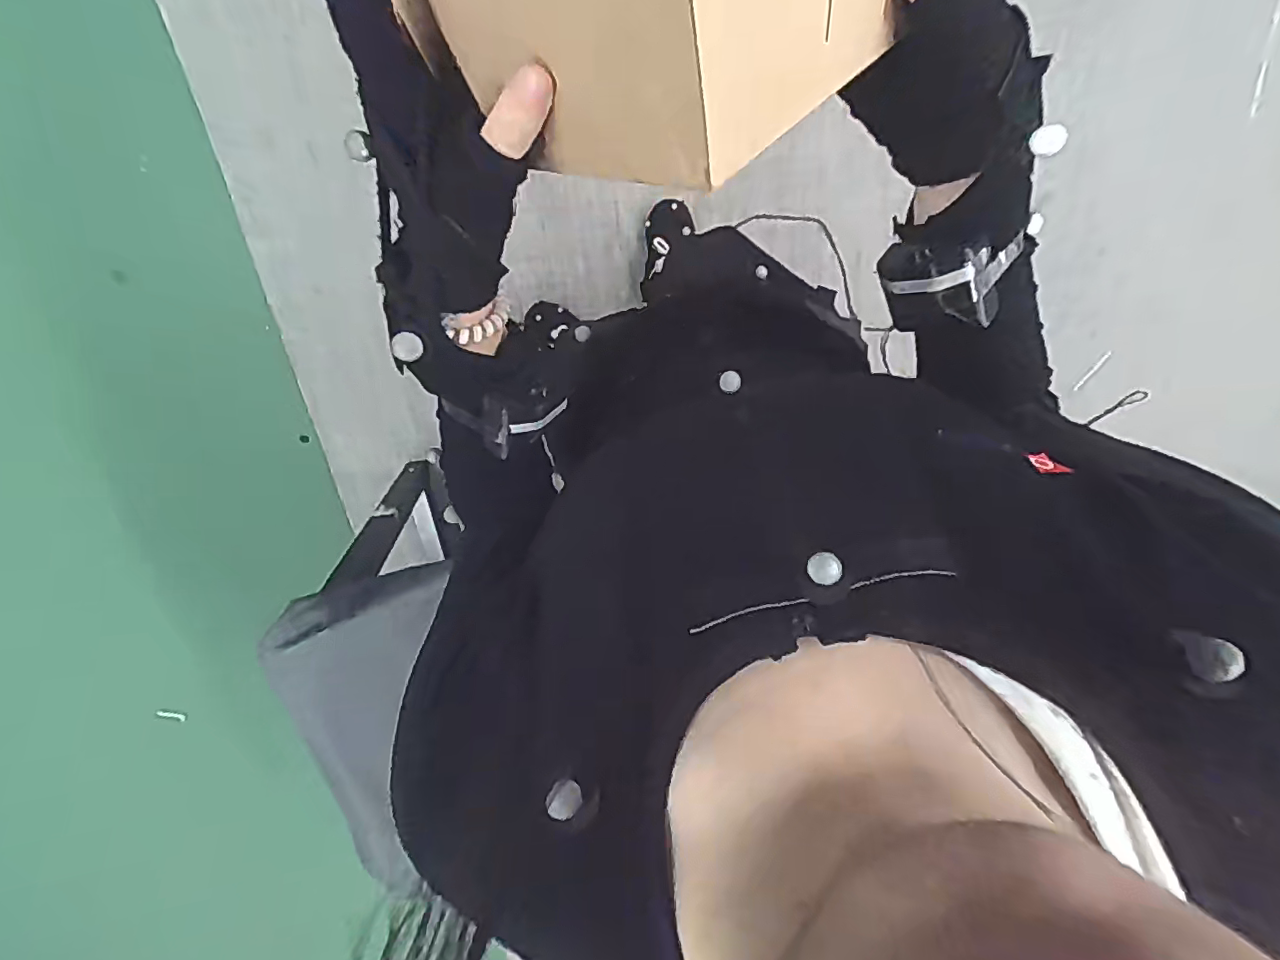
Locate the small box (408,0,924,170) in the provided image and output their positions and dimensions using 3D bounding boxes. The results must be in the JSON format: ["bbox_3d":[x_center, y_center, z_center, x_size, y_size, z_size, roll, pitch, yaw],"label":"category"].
[{"bbox_3d":[0.002,-0.248,0.206,0.168,0.176,0.179,-47,144,-22],"label":"small box"}]
